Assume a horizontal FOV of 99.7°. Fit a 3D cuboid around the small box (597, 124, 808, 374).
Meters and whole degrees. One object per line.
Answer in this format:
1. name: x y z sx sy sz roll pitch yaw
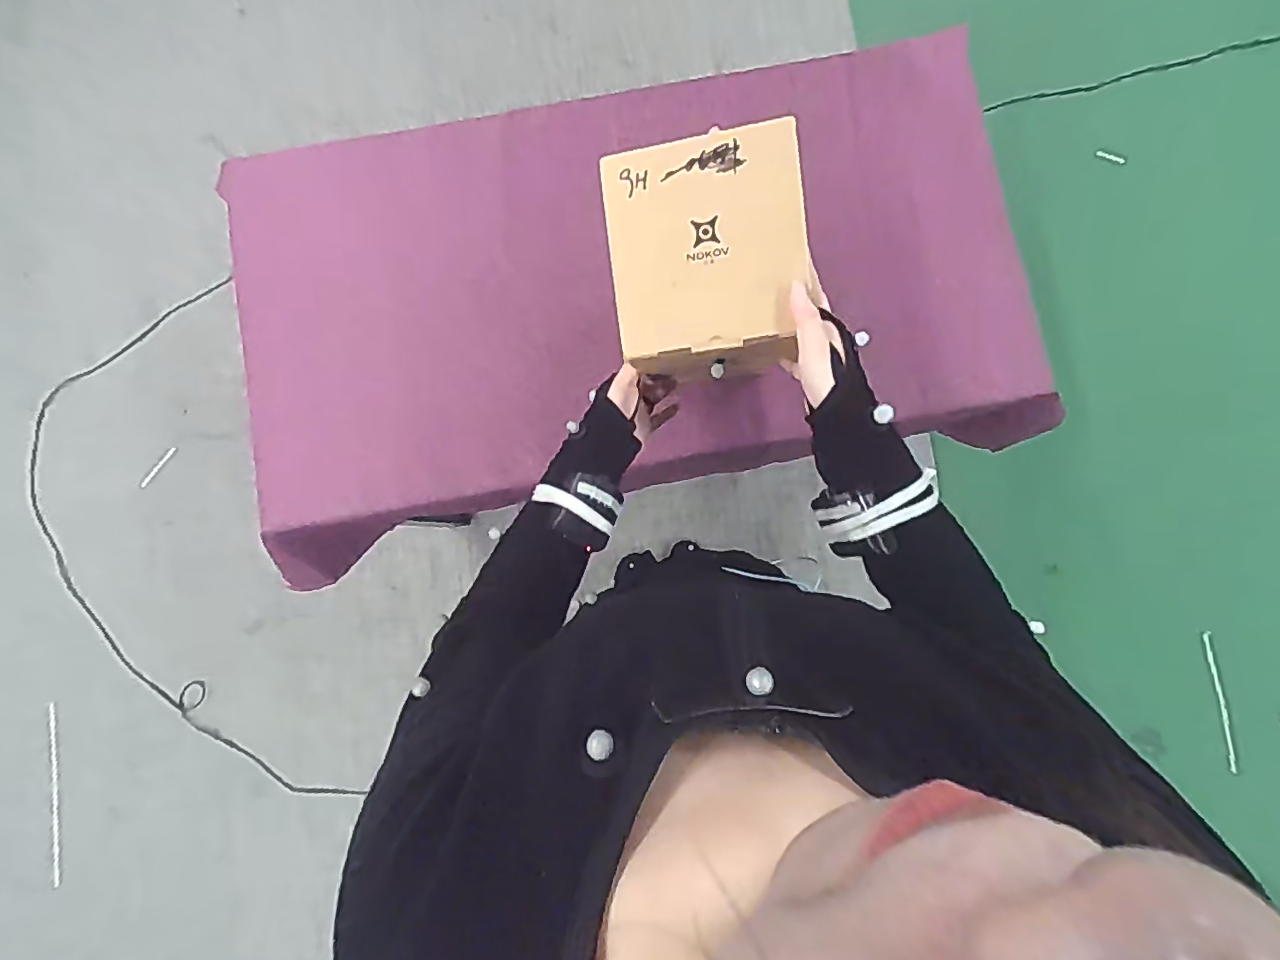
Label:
1. small box: 0.065 -0.202 0.533 0.168 0.176 0.179 -6 95 10
